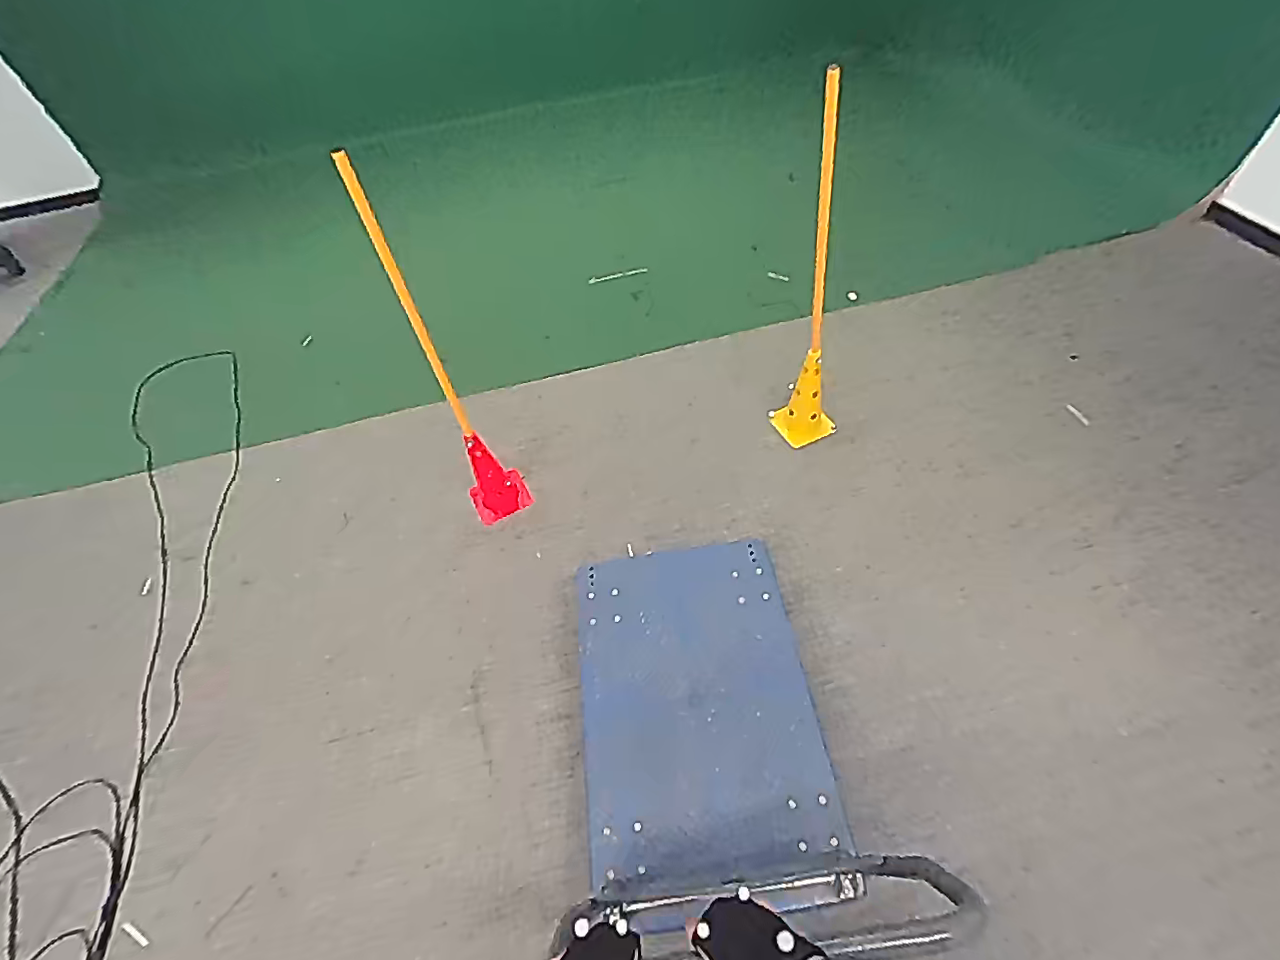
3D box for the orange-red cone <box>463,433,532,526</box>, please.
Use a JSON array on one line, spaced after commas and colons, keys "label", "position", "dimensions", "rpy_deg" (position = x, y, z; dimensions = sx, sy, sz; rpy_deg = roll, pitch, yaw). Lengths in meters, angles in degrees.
[{"label": "orange-red cone", "position": [-0.538, -0.033, 1.889], "dimensions": [0.199, 0.360, 0.198], "rpy_deg": [-27, 54, -11]}]
